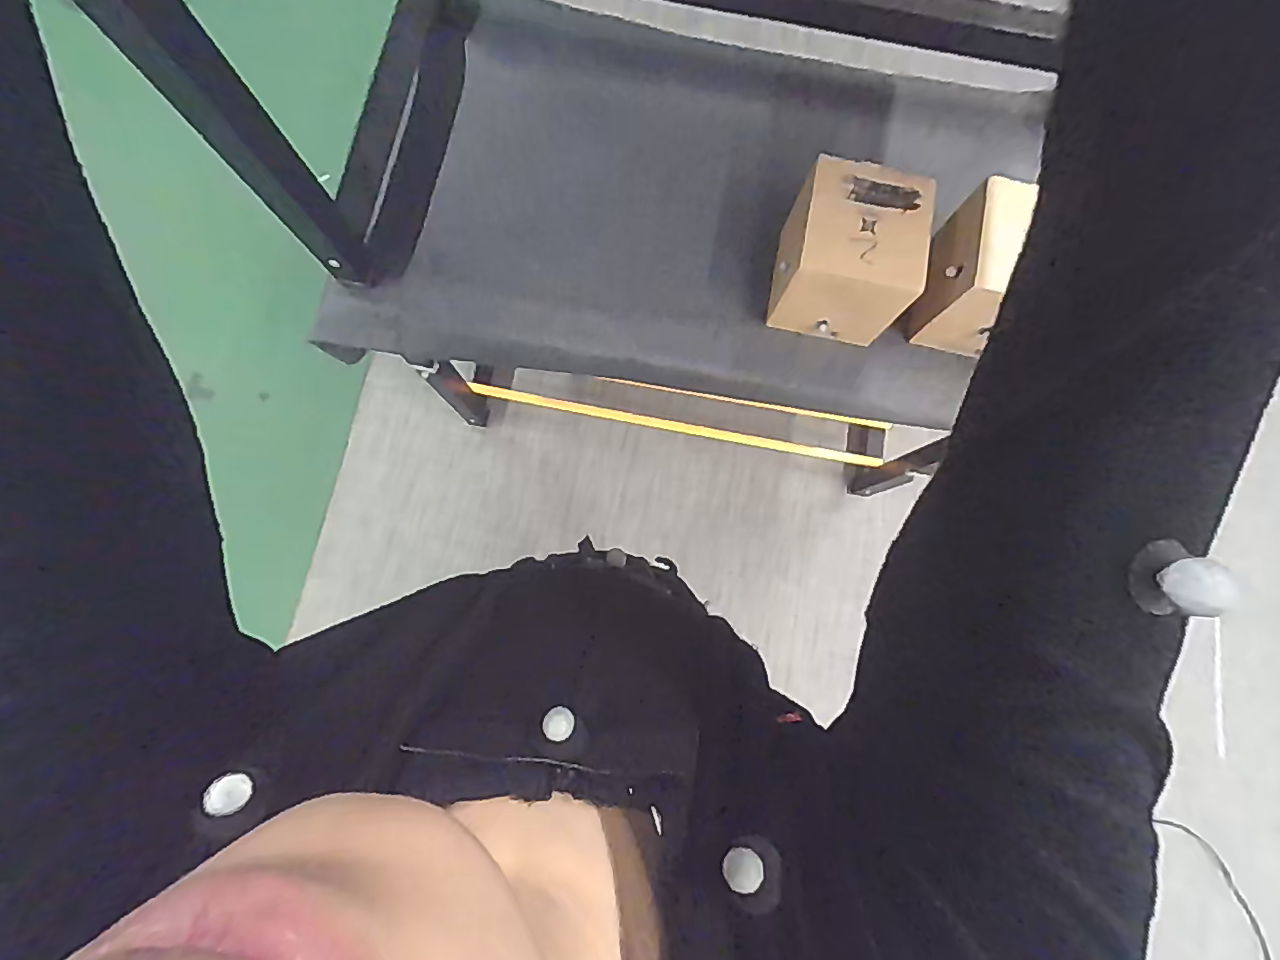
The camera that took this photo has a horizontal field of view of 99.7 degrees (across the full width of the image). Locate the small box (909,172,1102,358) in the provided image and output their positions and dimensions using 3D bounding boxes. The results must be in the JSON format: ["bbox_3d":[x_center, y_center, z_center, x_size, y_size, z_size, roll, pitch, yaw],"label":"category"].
[{"bbox_3d":[0.522,-0.302,0.794,0.168,0.176,0.179,14,79,0],"label":"small box"}]
